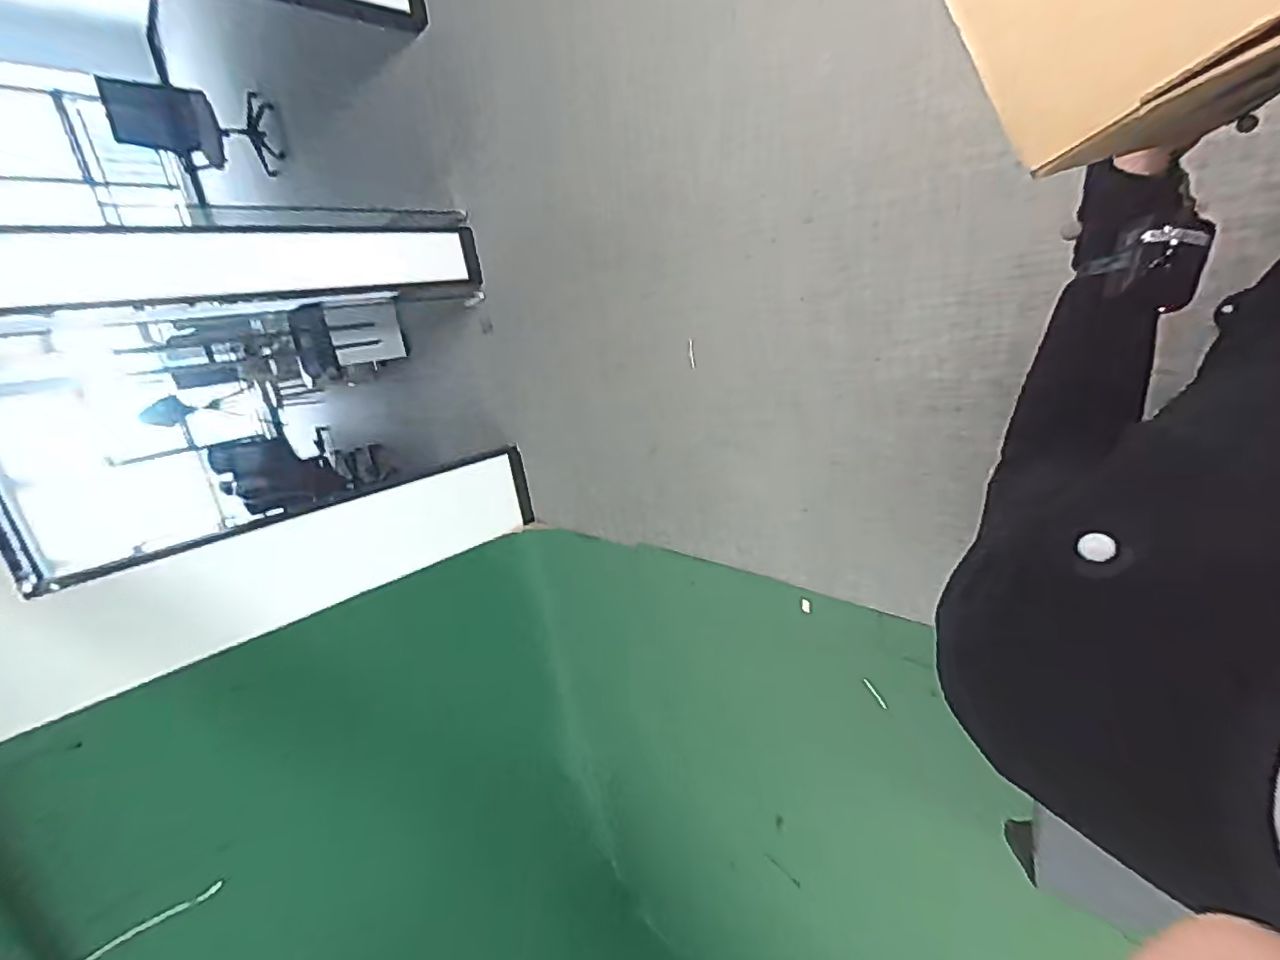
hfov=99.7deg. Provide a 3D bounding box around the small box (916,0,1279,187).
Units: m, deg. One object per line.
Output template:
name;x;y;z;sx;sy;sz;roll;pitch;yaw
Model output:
small box;0.190;-0.232;0.169;0.168;0.176;0.179;-23;97;53

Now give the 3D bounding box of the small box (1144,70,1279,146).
small box;0.421;-0.362;0.358;0.168;0.176;0.179;-24;94;55

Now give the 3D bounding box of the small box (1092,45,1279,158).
small box;0.305;-0.298;0.265;0.168;0.176;0.179;-24;94;54
